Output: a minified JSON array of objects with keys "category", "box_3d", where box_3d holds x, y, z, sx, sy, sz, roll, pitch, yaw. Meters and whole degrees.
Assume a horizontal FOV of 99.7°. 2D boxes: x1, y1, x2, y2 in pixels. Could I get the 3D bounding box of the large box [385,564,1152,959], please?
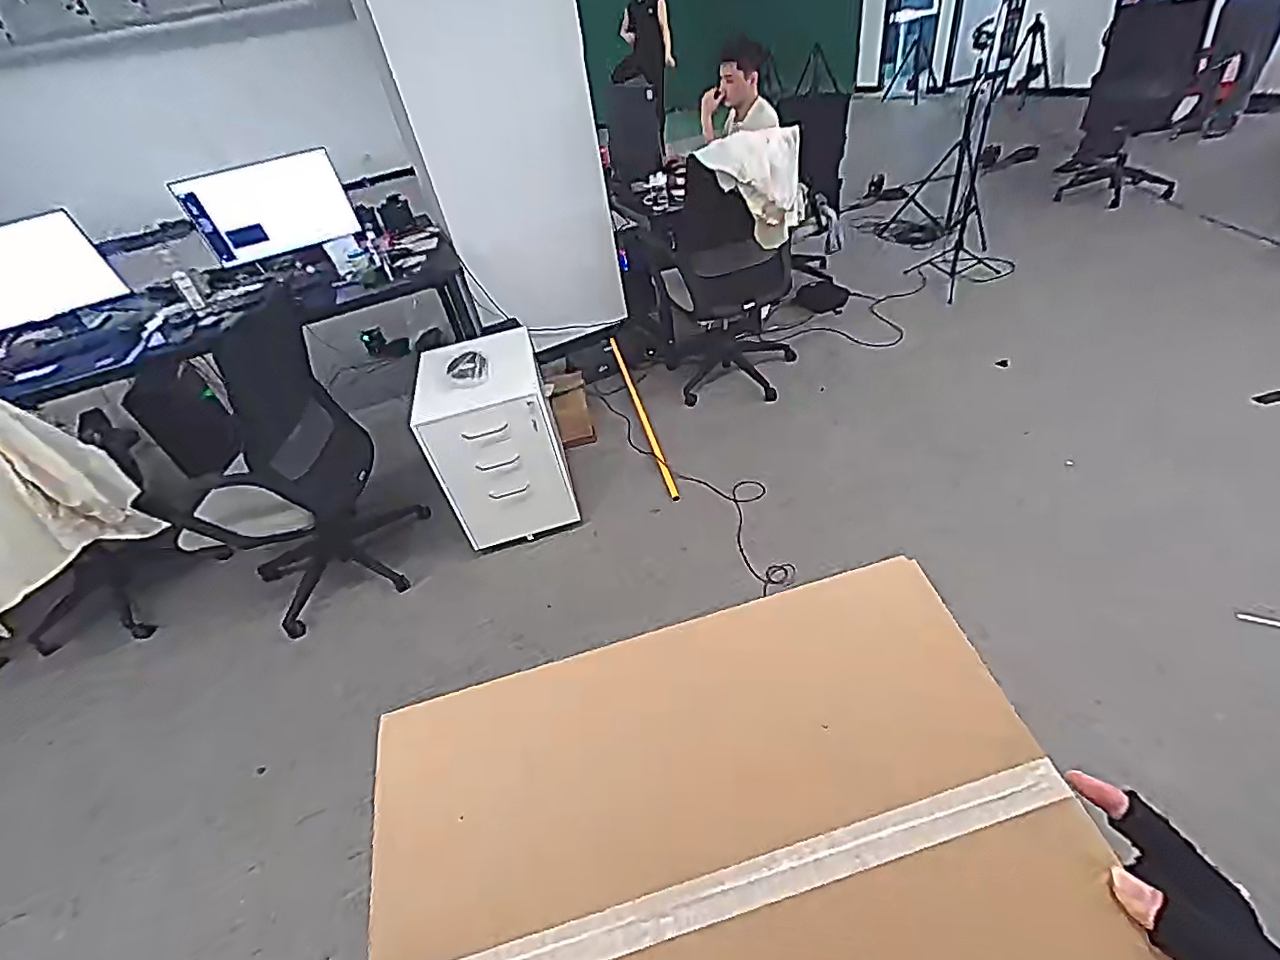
[{"category":"large box","box_3d":[0.067,0.321,0.432,0.408,0.320,0.320,-16,52,-3]}]
